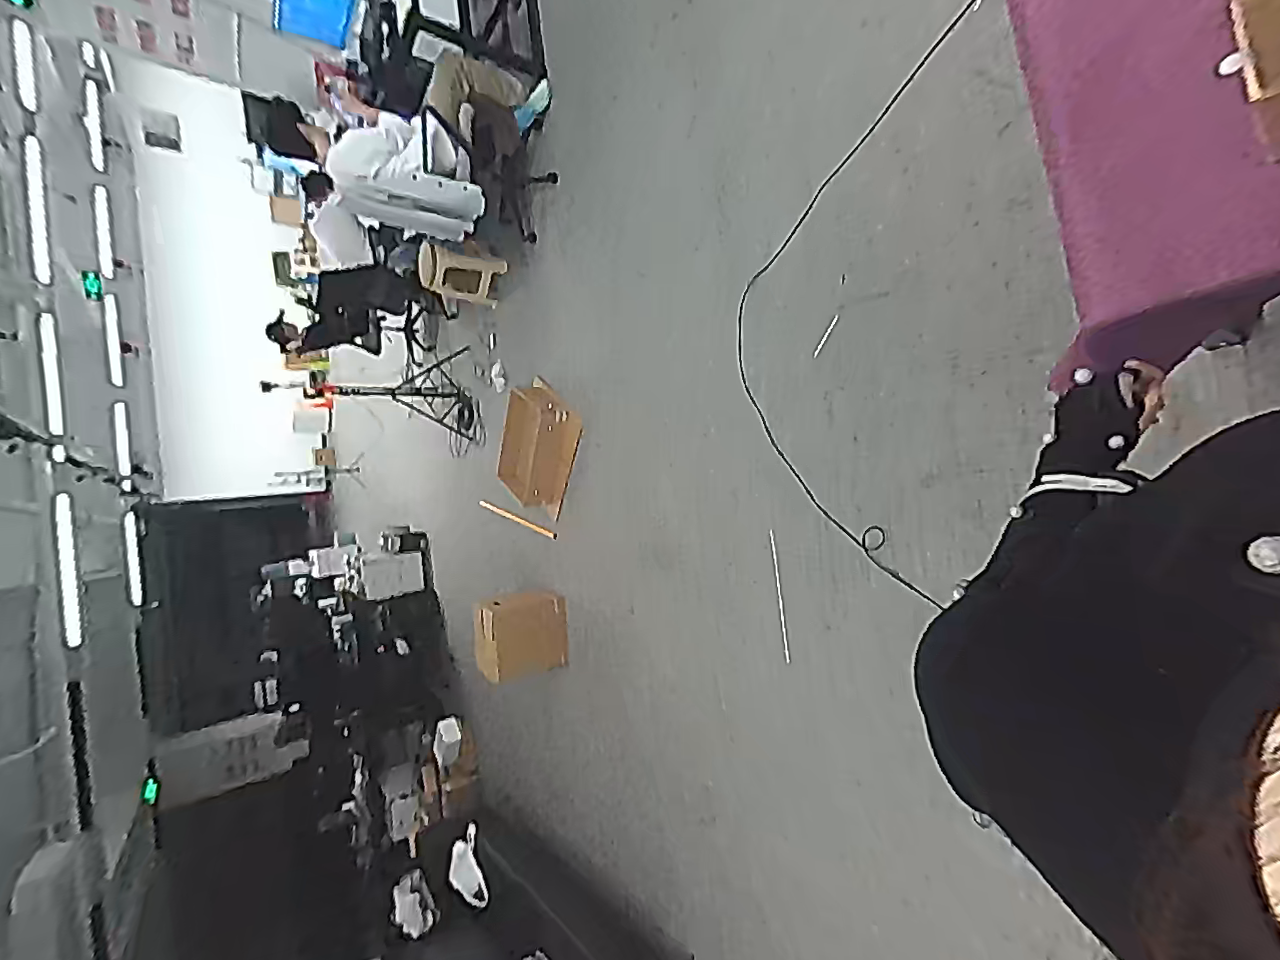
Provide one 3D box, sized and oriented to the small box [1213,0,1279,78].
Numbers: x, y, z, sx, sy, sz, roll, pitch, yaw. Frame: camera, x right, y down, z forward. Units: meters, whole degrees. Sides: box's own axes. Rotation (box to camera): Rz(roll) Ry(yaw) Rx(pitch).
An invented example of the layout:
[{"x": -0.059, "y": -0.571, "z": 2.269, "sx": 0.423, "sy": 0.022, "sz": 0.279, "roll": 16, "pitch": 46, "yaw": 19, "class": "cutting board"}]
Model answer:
[{"x": 0.461, "y": -0.385, "z": 0.320, "sx": 0.168, "sy": 0.176, "sz": 0.179, "roll": -9, "pitch": 86, "yaw": 53, "class": "small box"}]
